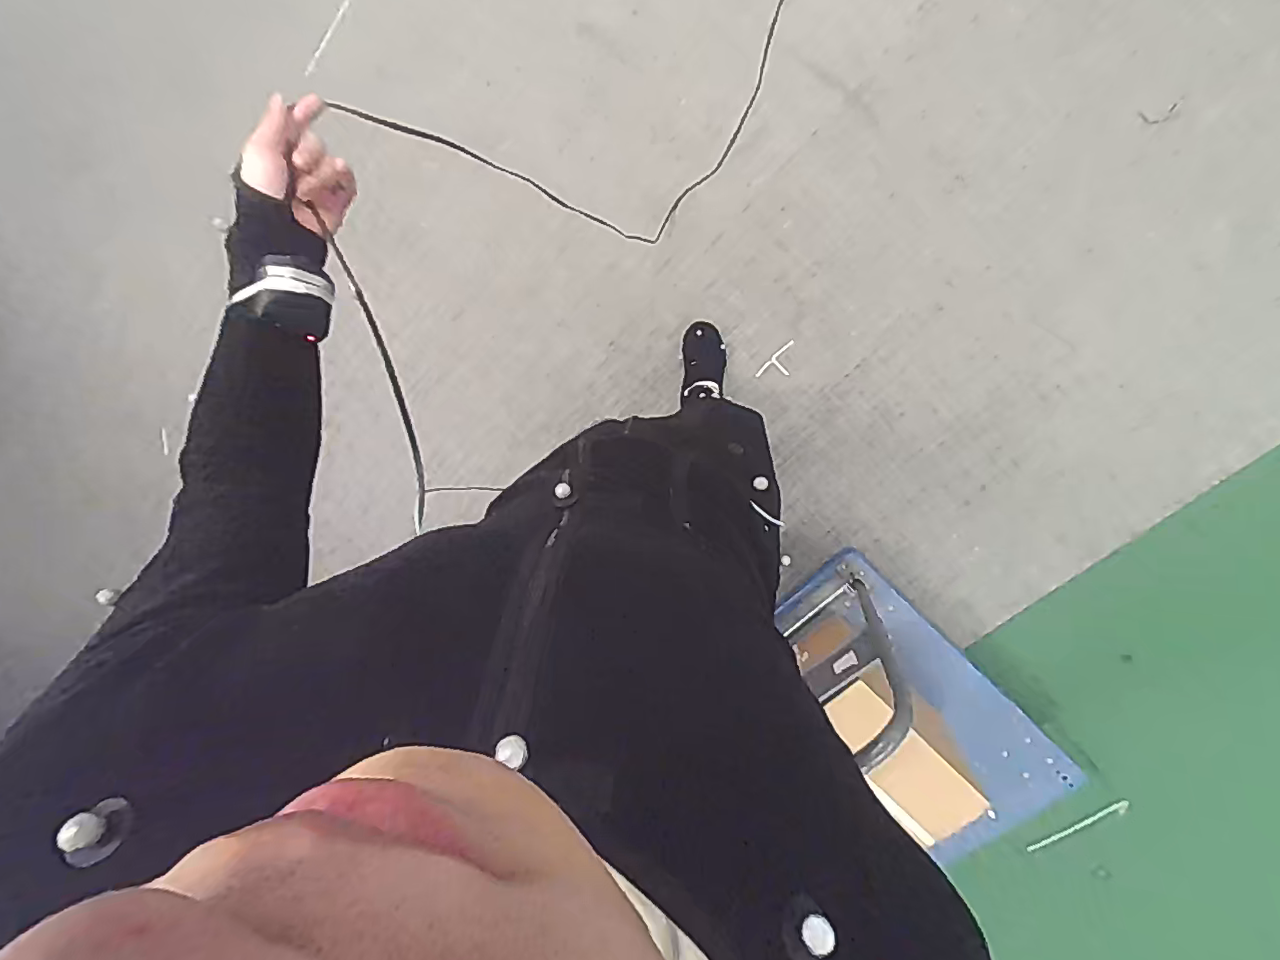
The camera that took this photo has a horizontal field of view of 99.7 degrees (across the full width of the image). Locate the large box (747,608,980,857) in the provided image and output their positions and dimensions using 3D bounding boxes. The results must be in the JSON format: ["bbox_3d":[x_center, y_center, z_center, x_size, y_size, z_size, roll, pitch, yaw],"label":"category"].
[{"bbox_3d":[0.519,0.605,1.348,0.408,0.320,0.320,44,108,-2],"label":"large box"}]
